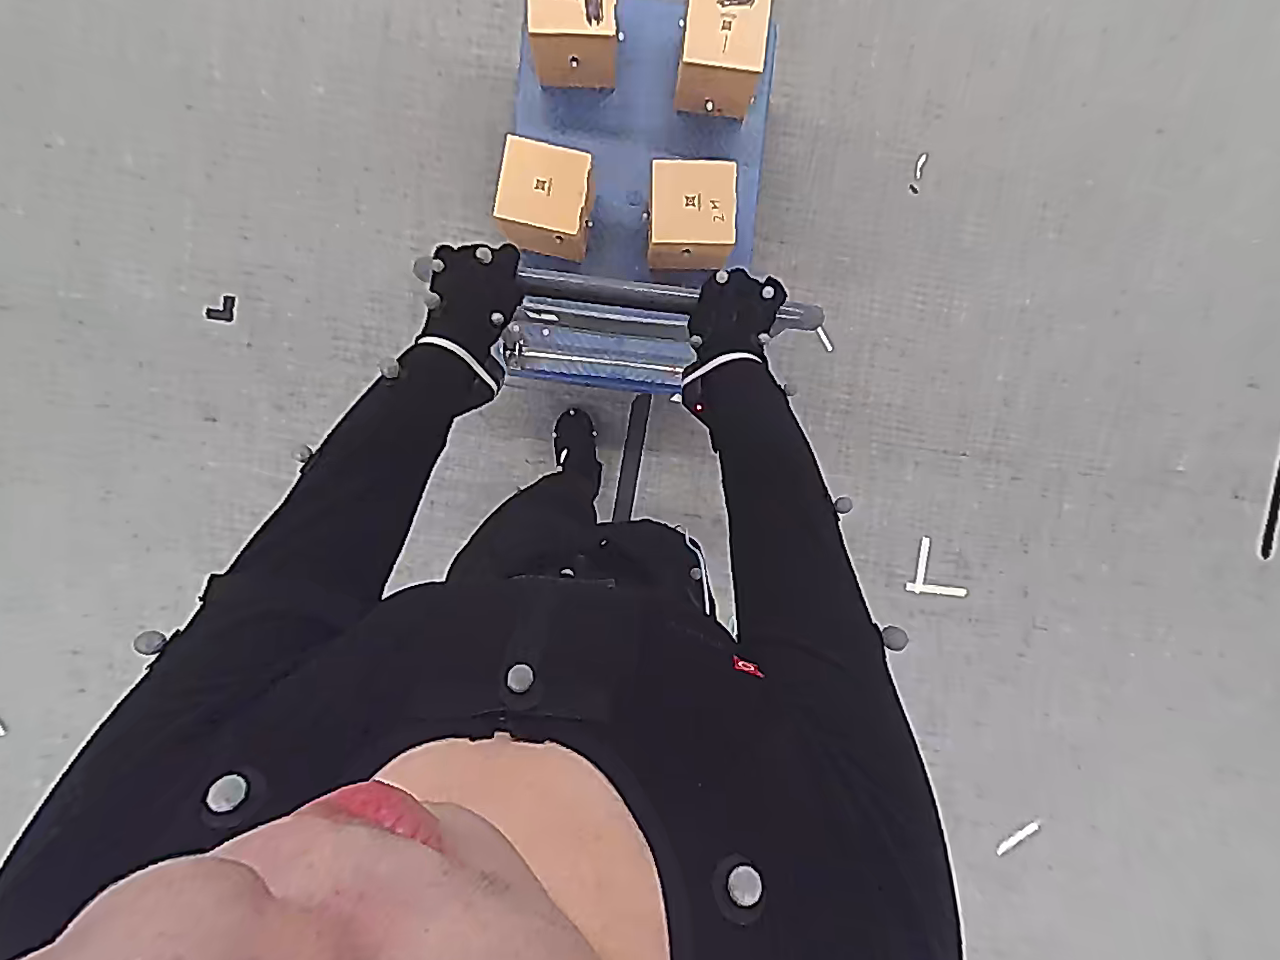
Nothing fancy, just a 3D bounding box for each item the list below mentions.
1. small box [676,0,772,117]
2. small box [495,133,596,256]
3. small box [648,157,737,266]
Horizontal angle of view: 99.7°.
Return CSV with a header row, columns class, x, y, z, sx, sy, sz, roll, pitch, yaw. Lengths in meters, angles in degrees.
class,x,y,z,sx,sy,sz,roll,pitch,yaw
small box,0.174,-0.927,1.160,0.168,0.176,0.179,6,95,-2
small box,-0.197,-0.607,1.172,0.179,0.176,0.168,11,93,-4
small box,0.109,-0.579,1.185,0.179,0.176,0.168,1,95,-2
